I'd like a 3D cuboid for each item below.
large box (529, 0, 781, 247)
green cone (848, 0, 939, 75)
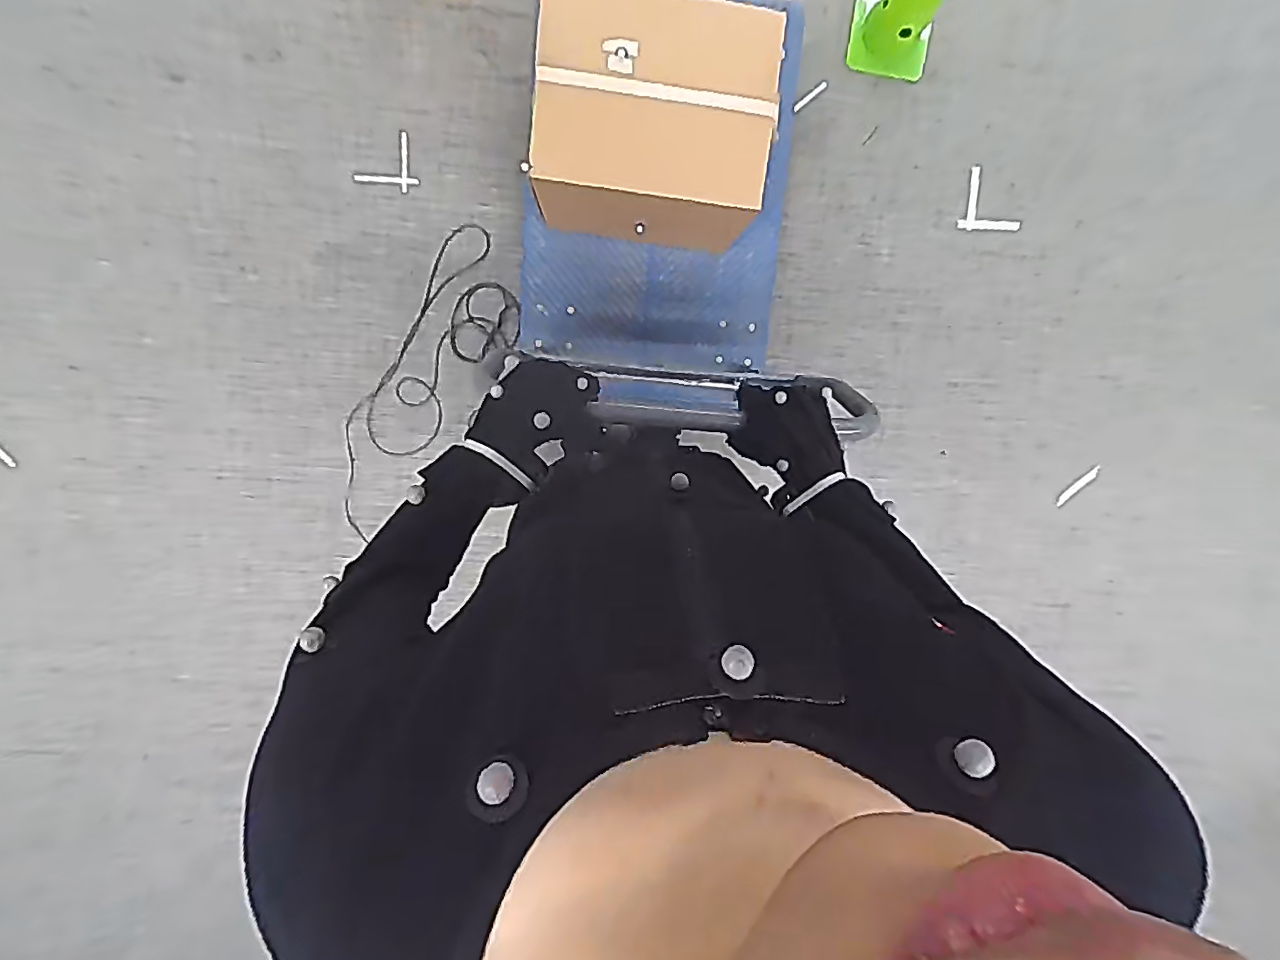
[{"bbox_3d":[0.017,-0.667,1.049,0.408,0.320,0.320,6,99,-4],"label":"large box"},{"bbox_3d":[0.637,-1.100,1.171,0.202,0.368,0.200,7,99,-6],"label":"green cone"}]
